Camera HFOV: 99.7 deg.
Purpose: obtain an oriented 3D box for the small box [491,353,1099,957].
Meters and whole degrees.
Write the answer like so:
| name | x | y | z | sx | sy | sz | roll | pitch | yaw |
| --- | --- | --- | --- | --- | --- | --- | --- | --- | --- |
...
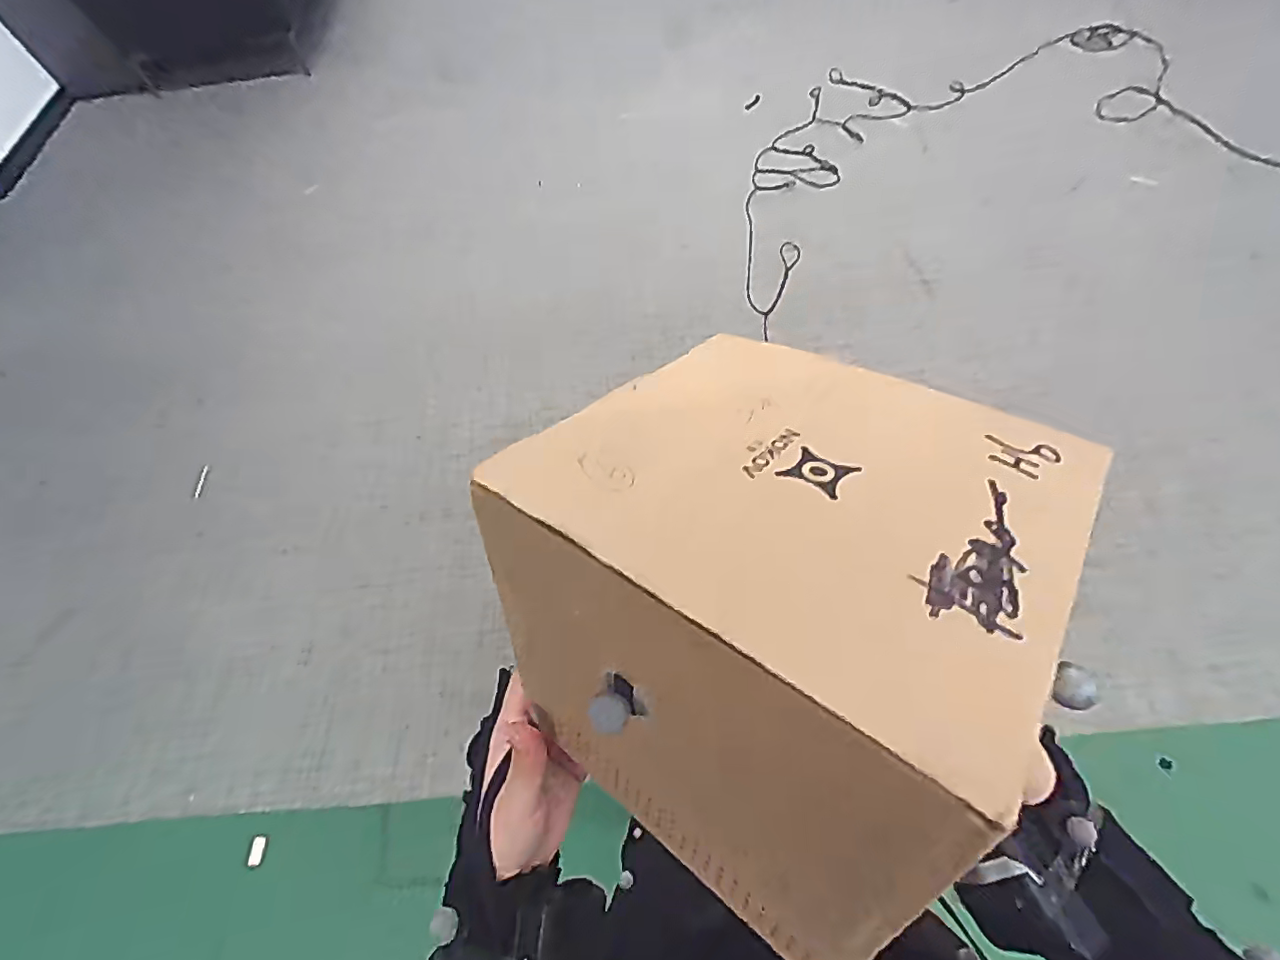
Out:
| name | x | y | z | sx | sy | sz | roll | pitch | yaw |
| --- | --- | --- | --- | --- | --- | --- | --- | --- | --- |
| small box | 0.061 | 0.065 | 0.253 | 0.179 | 0.176 | 0.168 | 26 | 46 | 31 |
